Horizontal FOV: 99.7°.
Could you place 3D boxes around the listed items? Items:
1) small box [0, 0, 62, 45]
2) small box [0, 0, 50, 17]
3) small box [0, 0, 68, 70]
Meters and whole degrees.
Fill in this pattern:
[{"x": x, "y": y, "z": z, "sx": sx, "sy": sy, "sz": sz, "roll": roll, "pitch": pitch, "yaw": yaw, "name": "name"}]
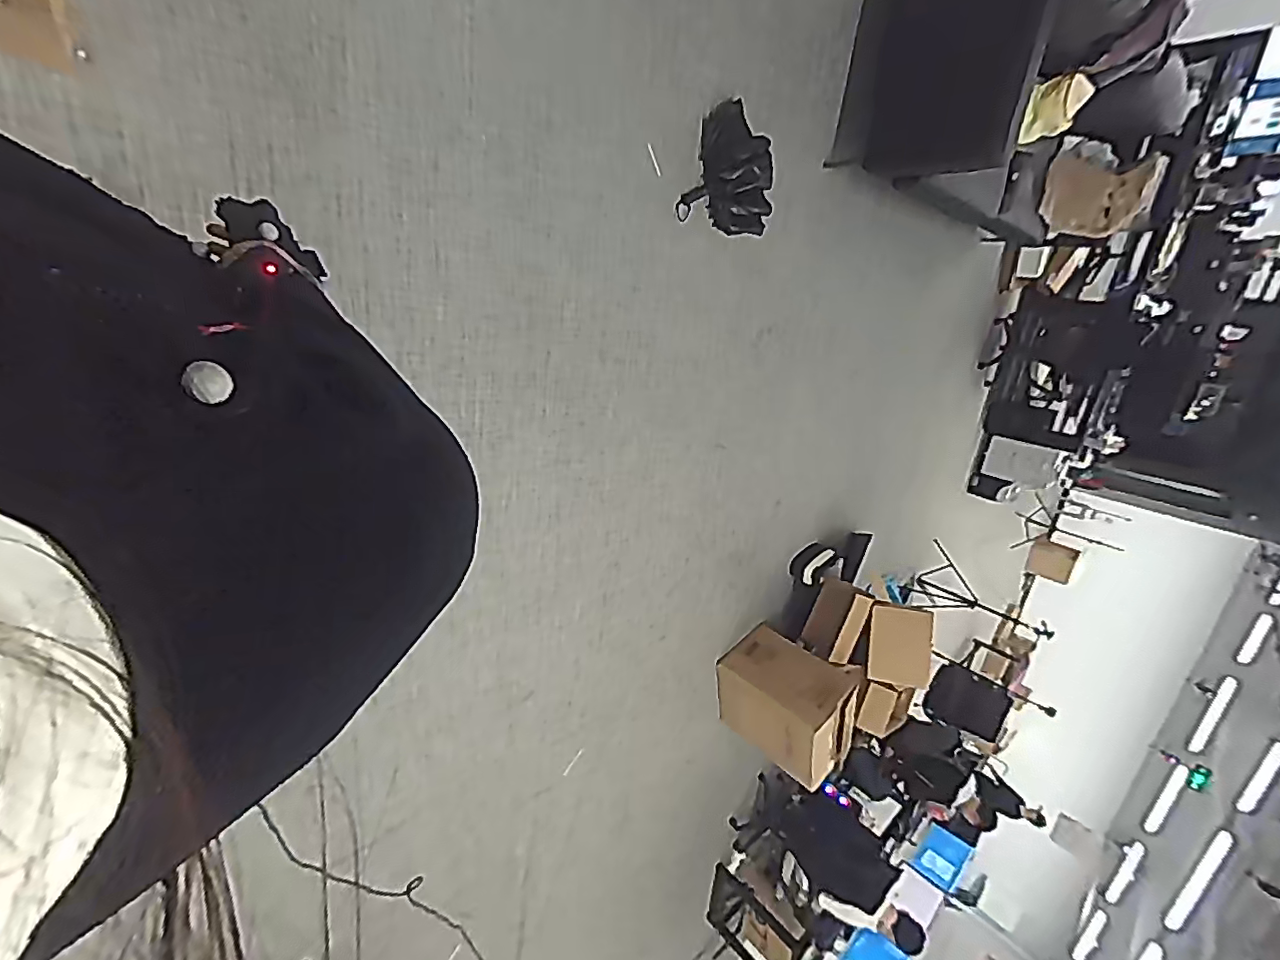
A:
[{"x": -0.835, "y": -0.667, "z": 0.655, "sx": 0.179, "sy": 0.176, "sz": 0.168, "roll": -5, "pitch": 113, "yaw": -42, "name": "small box"}, {"x": -0.727, "y": -0.613, "z": 0.542, "sx": 0.179, "sy": 0.176, "sz": 0.168, "roll": -3, "pitch": 109, "yaw": -42, "name": "small box"}, {"x": -0.942, "y": -0.718, "z": 0.764, "sx": 0.179, "sy": 0.176, "sz": 0.168, "roll": -3, "pitch": 109, "yaw": -43, "name": "small box"}]
